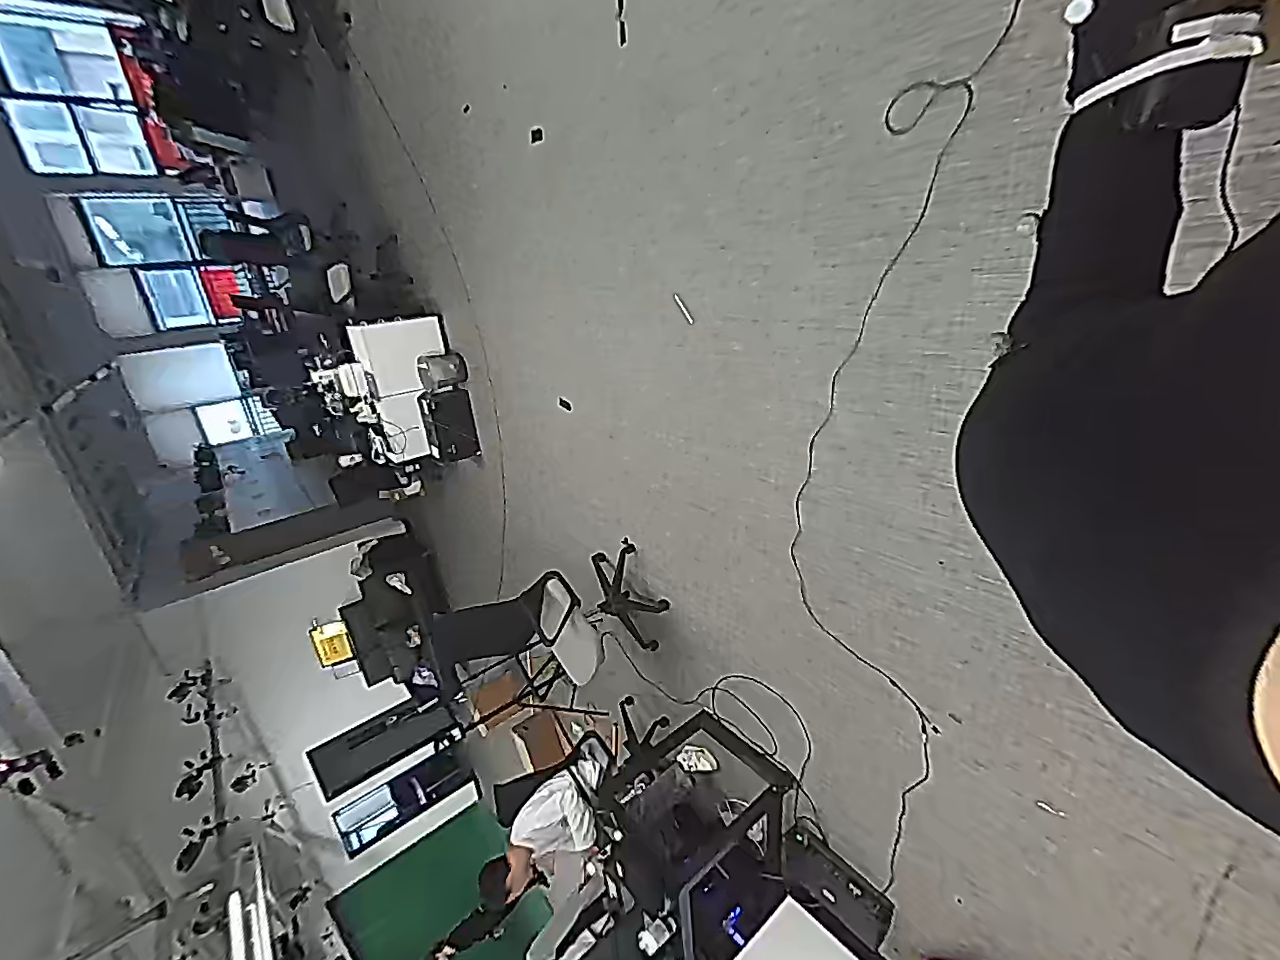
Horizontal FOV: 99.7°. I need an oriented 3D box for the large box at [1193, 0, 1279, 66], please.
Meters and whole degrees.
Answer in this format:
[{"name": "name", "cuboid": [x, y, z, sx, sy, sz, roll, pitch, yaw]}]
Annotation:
[{"name": "large box", "cuboid": [0.576, -0.467, 0.247, 0.408, 0.320, 0.320, 14, 120, 49]}]
